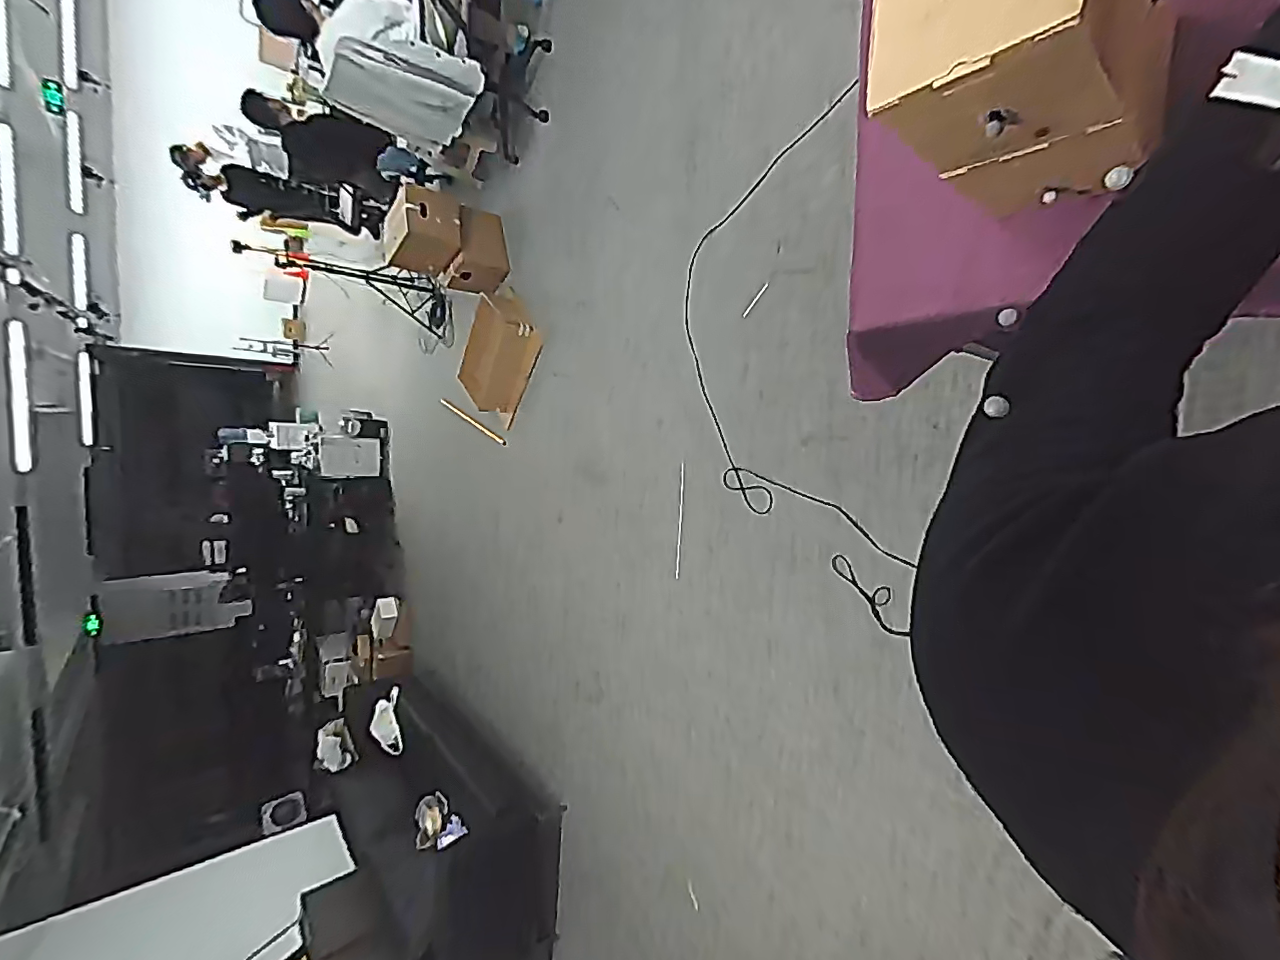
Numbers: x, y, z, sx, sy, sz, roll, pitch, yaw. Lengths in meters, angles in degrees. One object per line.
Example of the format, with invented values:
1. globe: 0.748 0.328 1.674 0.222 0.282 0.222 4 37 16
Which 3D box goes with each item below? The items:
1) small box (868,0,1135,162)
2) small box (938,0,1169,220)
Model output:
1. small box: 0.335 -0.424 0.500 0.168 0.176 0.179 8 97 49
2. small box: 0.462 -0.422 0.605 0.168 0.176 0.179 8 97 51
